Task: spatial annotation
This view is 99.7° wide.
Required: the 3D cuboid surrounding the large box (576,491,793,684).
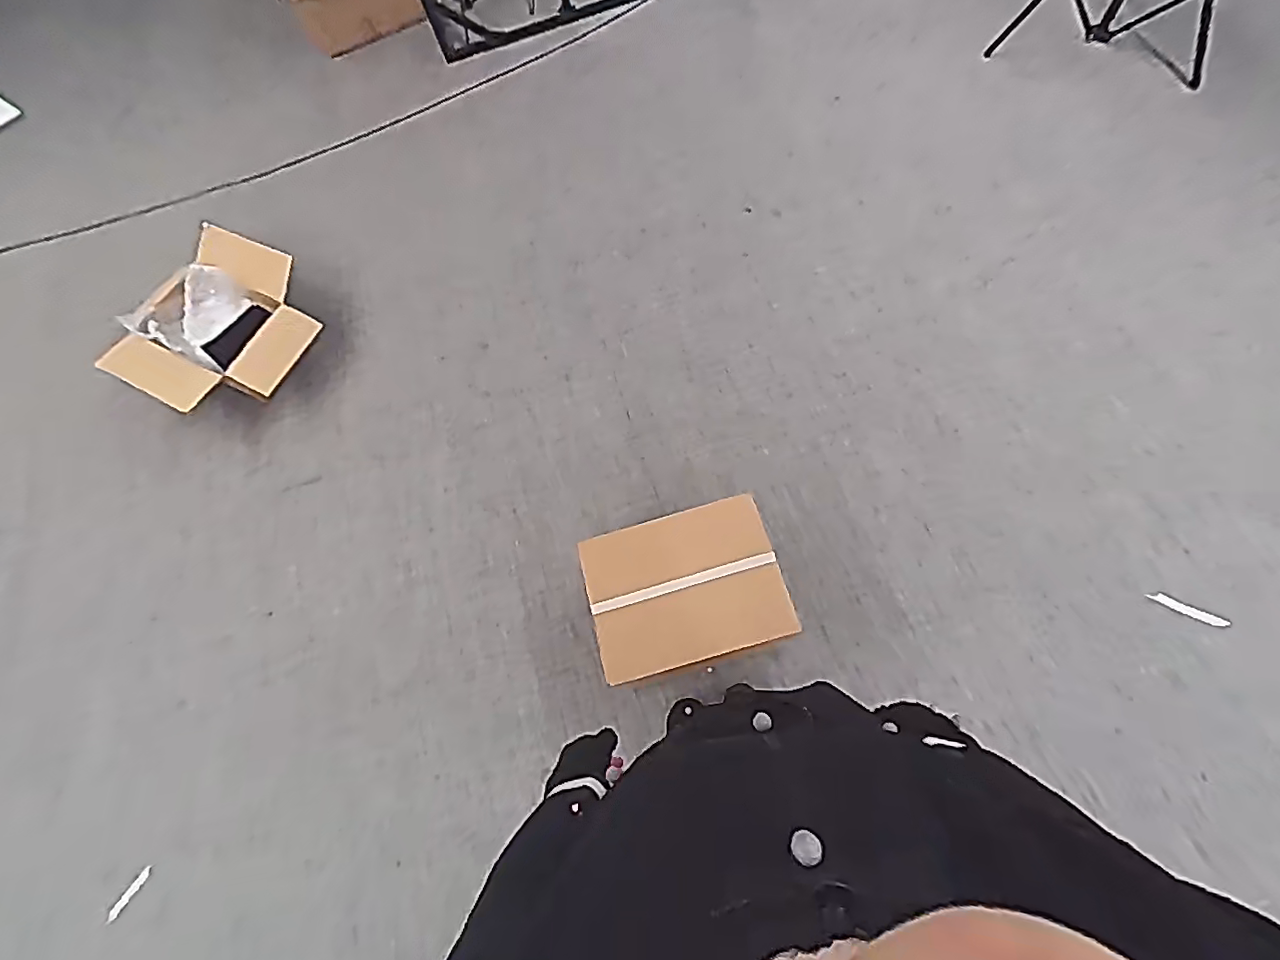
[{"bbox_3d":[0.101,0.271,1.284,0.408,0.320,0.320,-16,68,1],"label":"large box"}]
